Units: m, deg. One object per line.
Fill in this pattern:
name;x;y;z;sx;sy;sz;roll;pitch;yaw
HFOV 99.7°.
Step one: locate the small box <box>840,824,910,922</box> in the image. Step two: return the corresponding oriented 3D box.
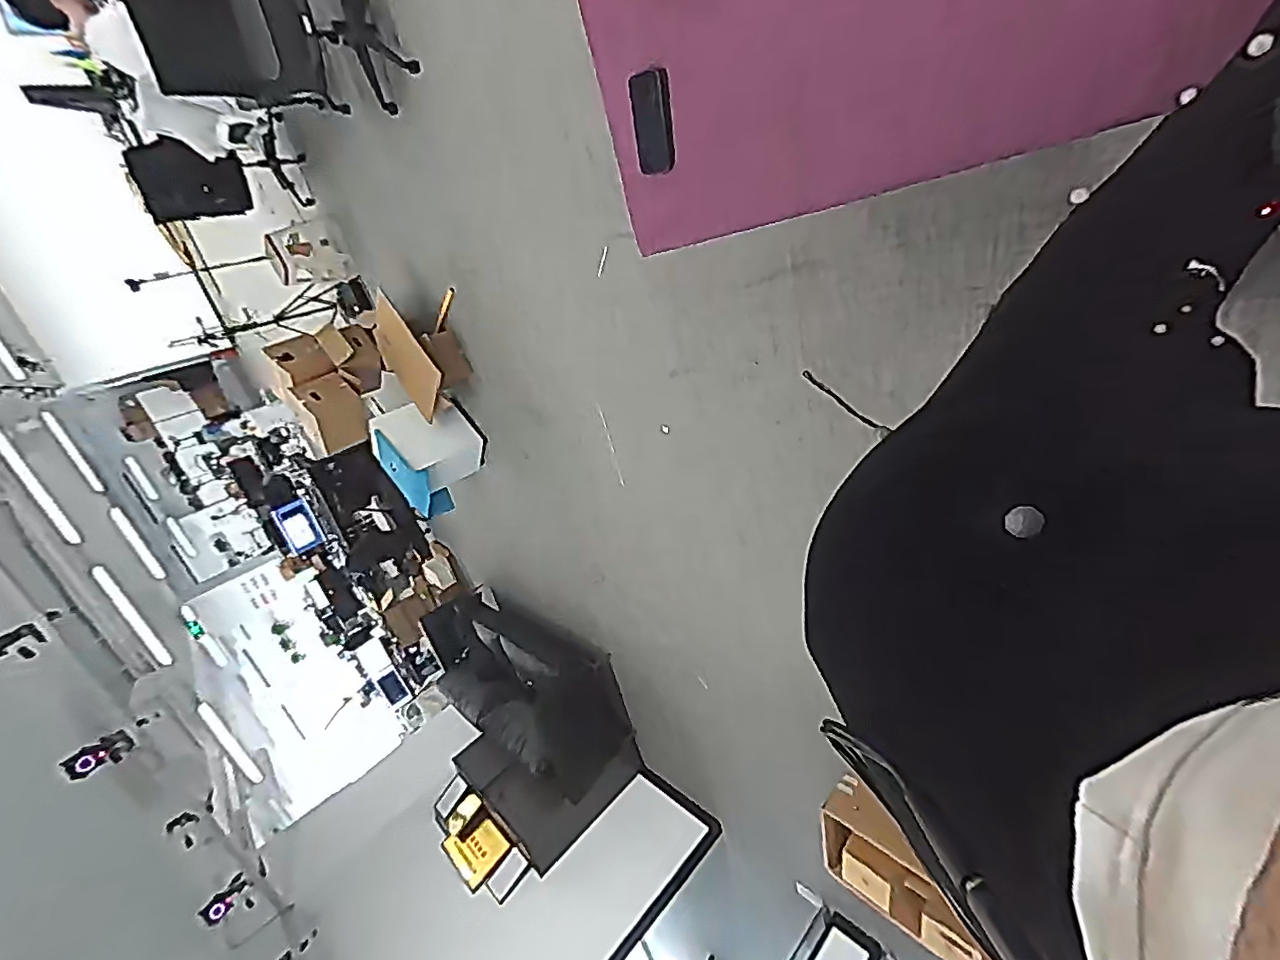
small box;0.806;1.339;1.853;0.168;0.176;0.179;18;127;44
